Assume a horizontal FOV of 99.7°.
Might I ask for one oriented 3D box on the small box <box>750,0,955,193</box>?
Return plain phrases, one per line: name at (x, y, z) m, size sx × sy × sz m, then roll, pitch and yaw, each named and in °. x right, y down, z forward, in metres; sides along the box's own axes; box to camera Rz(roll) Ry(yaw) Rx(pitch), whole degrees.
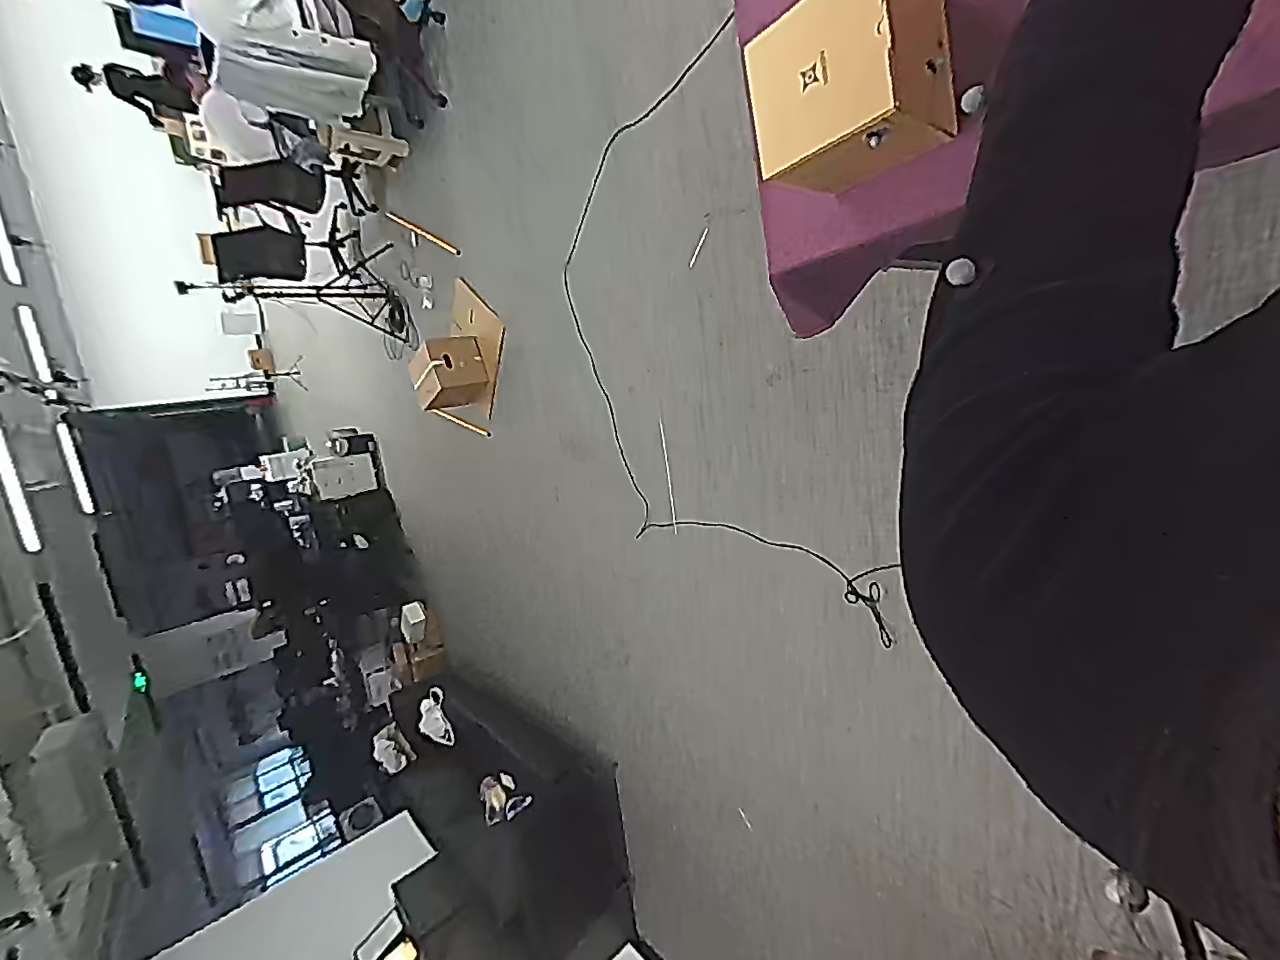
small box at (0.268, -0.489, 0.685) m, size 0.179 × 0.176 × 0.168 m, roll -3°, pitch 99°, yaw 50°
